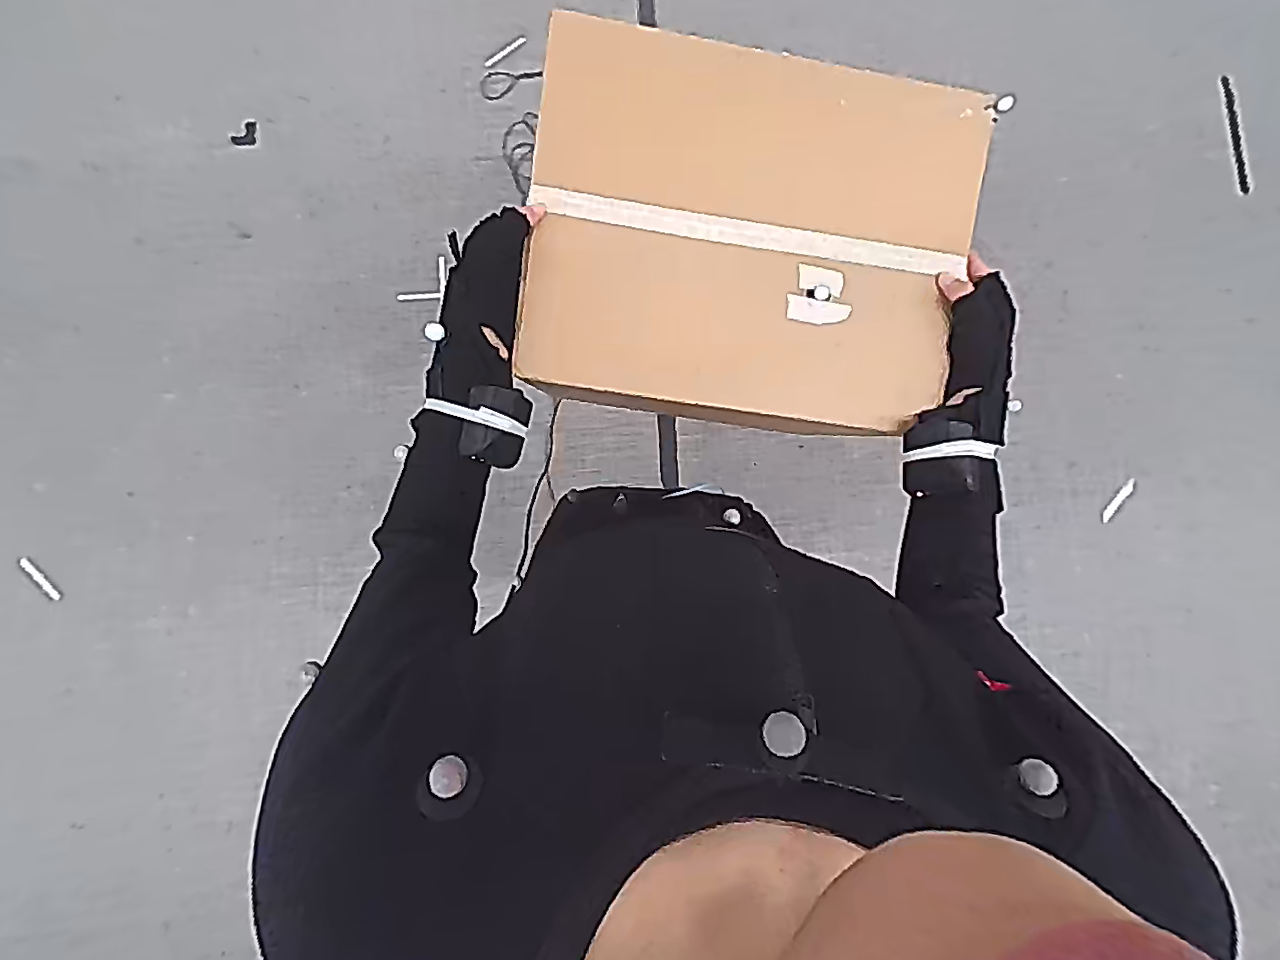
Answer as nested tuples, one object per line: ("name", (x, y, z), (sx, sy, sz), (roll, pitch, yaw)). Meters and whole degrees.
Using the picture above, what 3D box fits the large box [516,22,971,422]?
("large box", (0.085, -0.246, 0.650), (0.408, 0.320, 0.320), (7, 96, -5))
